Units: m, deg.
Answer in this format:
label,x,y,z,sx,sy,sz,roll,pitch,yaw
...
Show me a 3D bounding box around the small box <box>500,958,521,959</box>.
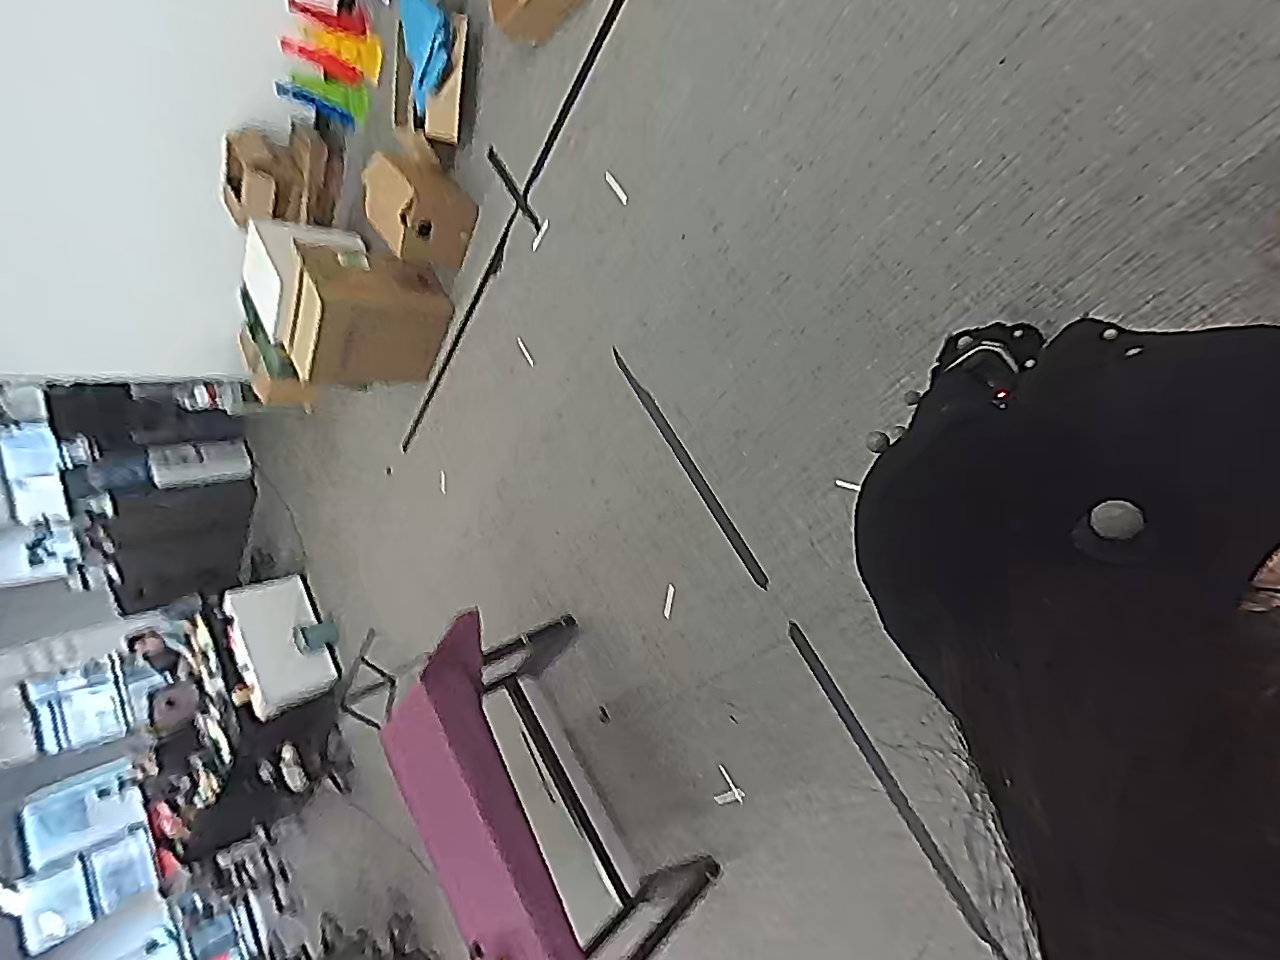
label,x,y,z,sx,sy,sz,roll,pitch,yaw
small box,-0.453,1.694,1.746,0.179,0.176,0.168,-43,71,38
